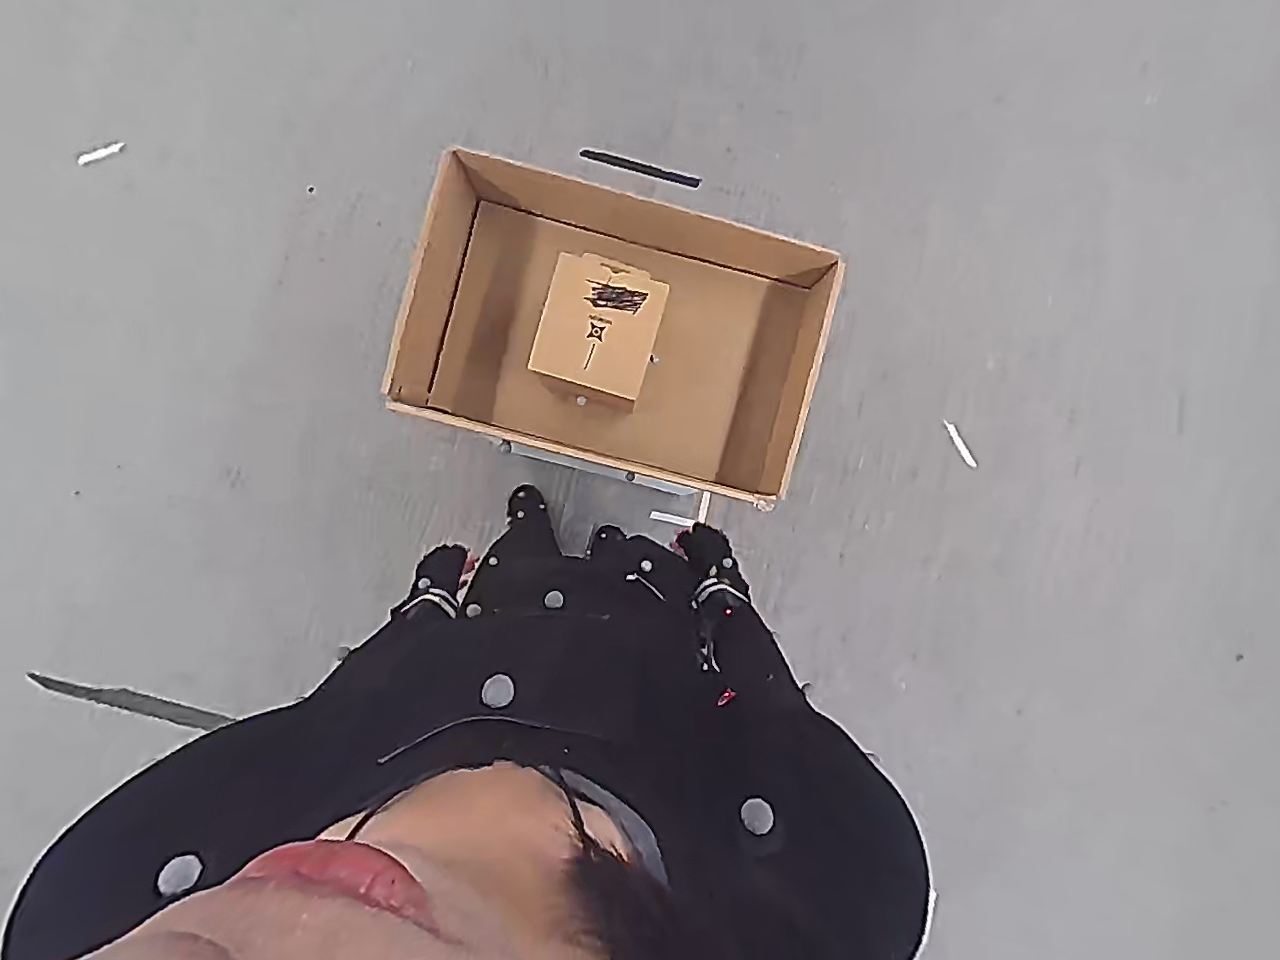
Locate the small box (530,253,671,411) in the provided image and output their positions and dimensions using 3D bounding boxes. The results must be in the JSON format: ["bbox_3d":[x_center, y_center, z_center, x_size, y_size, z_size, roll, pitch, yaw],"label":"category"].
[{"bbox_3d":[-0.060,-0.219,0.847,0.168,0.176,0.179,16,91,-2],"label":"small box"}]
